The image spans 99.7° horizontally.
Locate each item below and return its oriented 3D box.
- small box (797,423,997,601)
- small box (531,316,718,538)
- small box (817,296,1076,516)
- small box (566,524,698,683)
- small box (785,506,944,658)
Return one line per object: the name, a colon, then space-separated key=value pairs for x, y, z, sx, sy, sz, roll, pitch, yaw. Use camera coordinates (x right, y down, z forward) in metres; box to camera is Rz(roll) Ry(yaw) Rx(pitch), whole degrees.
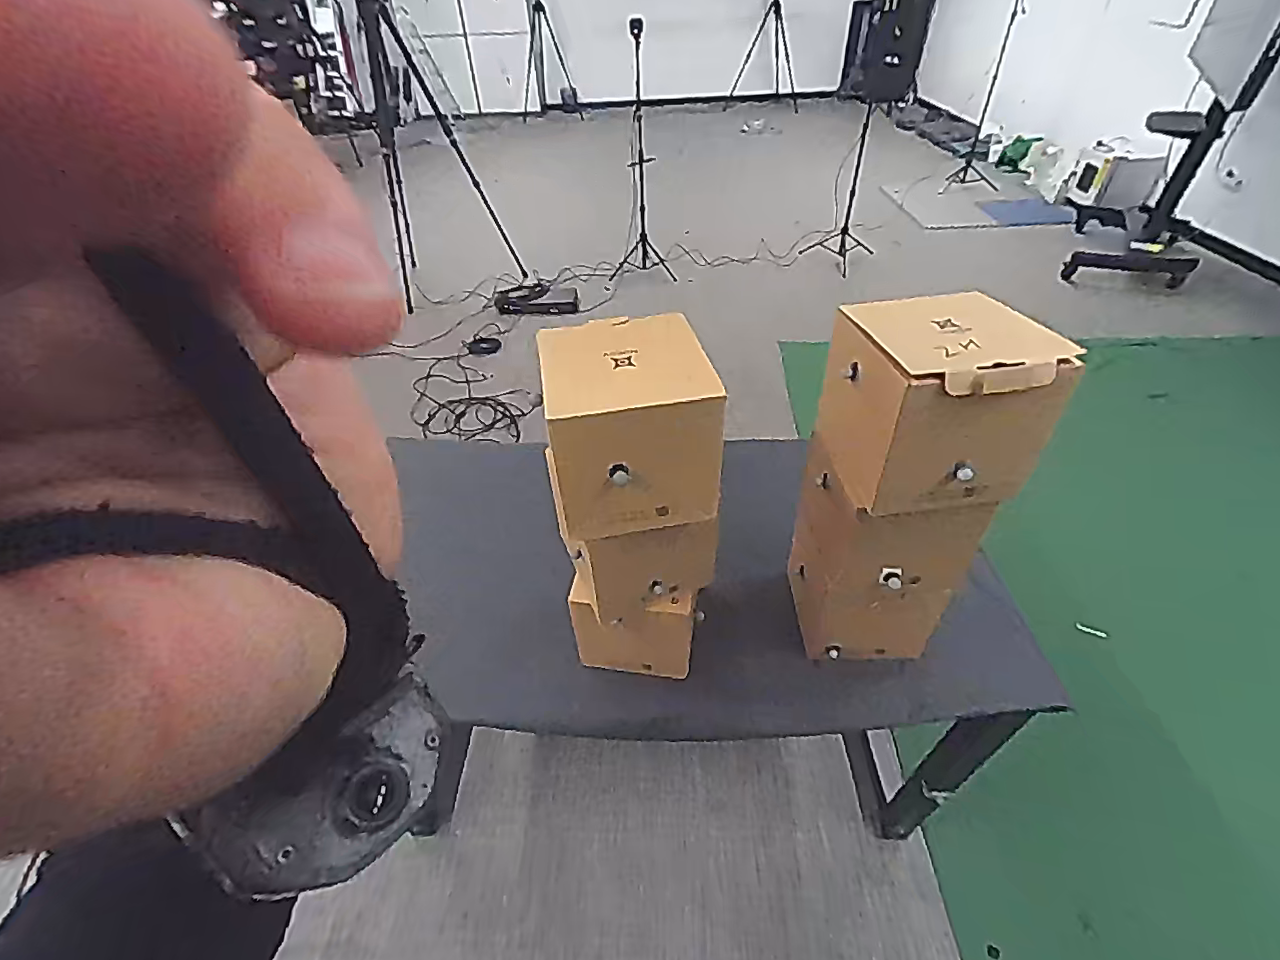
small box: x=0.316 y=0.036 z=0.714 sx=0.168 sy=0.176 sz=0.179 roll=-5 pitch=42 yaw=0
small box: x=-0.019 y=-0.054 z=0.589 sx=0.168 sy=0.176 sz=0.179 roll=-9 pitch=42 yaw=-7
small box: x=0.310 y=-0.084 z=0.599 sx=0.168 sy=0.176 sz=0.179 roll=-7 pitch=41 yaw=-2
small box: x=-0.004 y=0.177 z=0.821 sx=0.168 sy=0.176 sz=0.179 roll=5 pitch=41 yaw=8
small box: x=0.325 y=0.155 z=0.823 sx=0.168 sy=0.176 sz=0.179 roll=-2 pitch=40 yaw=3
